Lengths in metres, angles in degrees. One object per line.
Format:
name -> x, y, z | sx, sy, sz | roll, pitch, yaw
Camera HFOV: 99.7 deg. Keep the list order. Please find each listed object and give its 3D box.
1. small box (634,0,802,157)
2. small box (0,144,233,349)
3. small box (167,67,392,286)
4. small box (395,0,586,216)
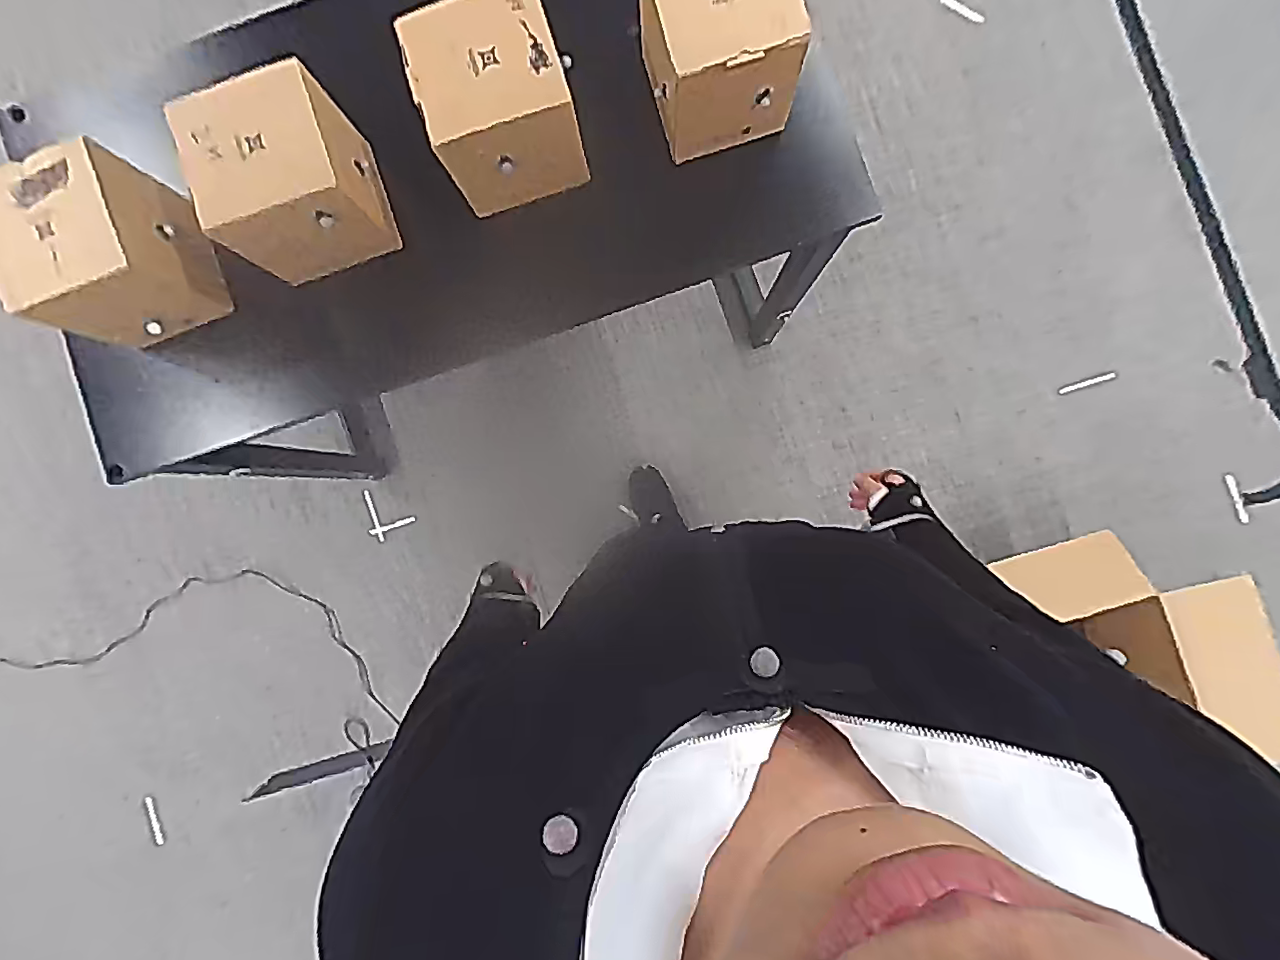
small box -> 0.094, -0.564, 0.712 | 0.168, 0.176, 0.179 | -17, 87, 2
small box -> -0.715, -0.303, 0.738 | 0.168, 0.176, 0.179 | -21, 89, 2
small box -> -0.463, -0.392, 0.729 | 0.179, 0.176, 0.168 | -20, 88, 2
small box -> -0.187, -0.488, 0.722 | 0.179, 0.176, 0.168 | -17, 88, 3
